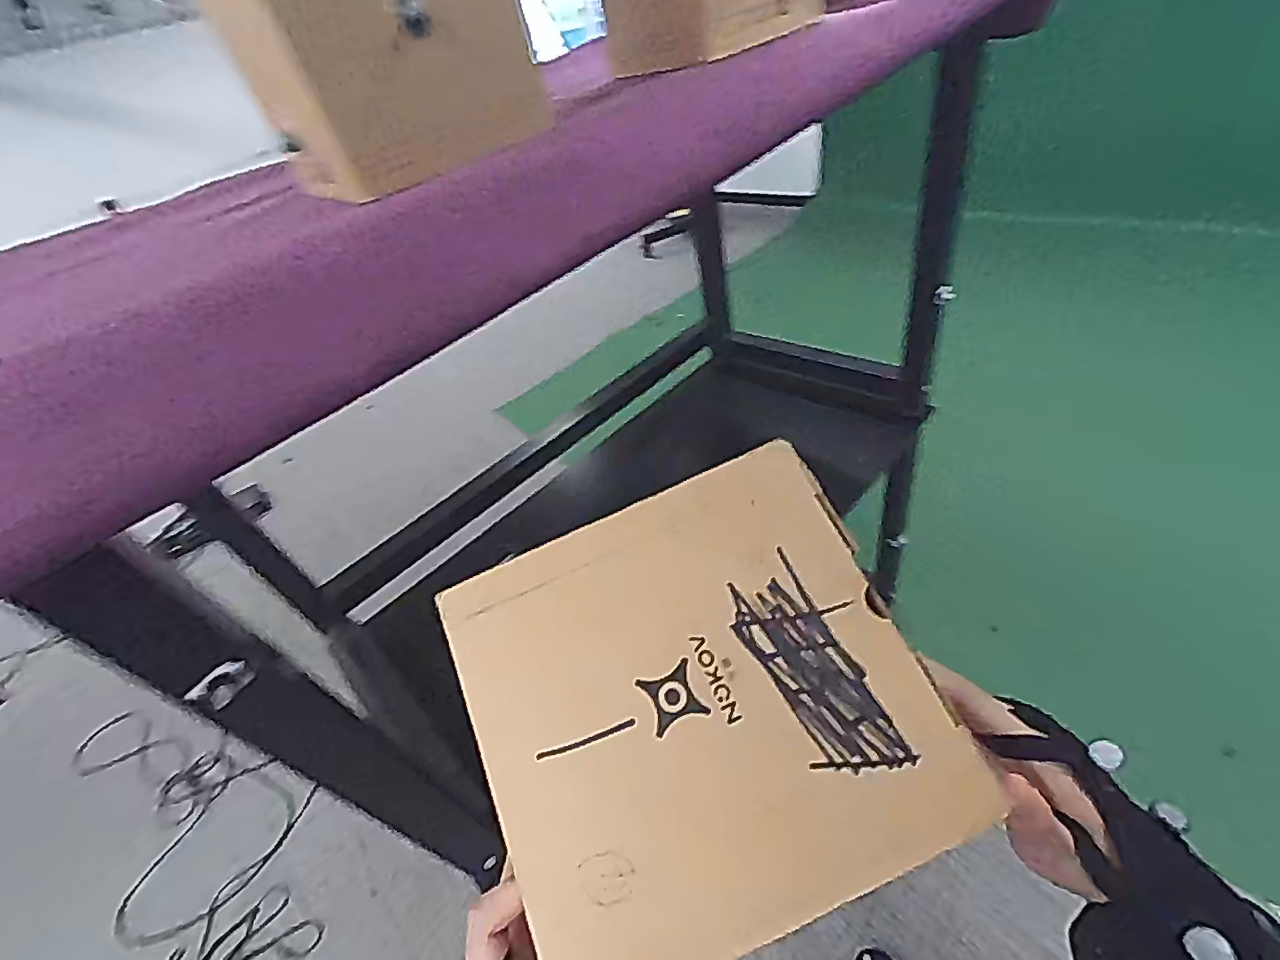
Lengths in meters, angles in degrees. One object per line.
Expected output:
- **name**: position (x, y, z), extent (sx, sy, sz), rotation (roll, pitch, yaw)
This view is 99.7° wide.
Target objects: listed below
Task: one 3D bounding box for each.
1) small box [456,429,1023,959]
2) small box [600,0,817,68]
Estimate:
- **small box**: position (0.034, 0.105, 0.287), extent (0.179, 0.176, 0.168), rotation (-23, 67, -3)
- **small box**: position (0.063, -0.547, 0.547), extent (0.168, 0.176, 0.179), rotation (-36, 43, -21)
